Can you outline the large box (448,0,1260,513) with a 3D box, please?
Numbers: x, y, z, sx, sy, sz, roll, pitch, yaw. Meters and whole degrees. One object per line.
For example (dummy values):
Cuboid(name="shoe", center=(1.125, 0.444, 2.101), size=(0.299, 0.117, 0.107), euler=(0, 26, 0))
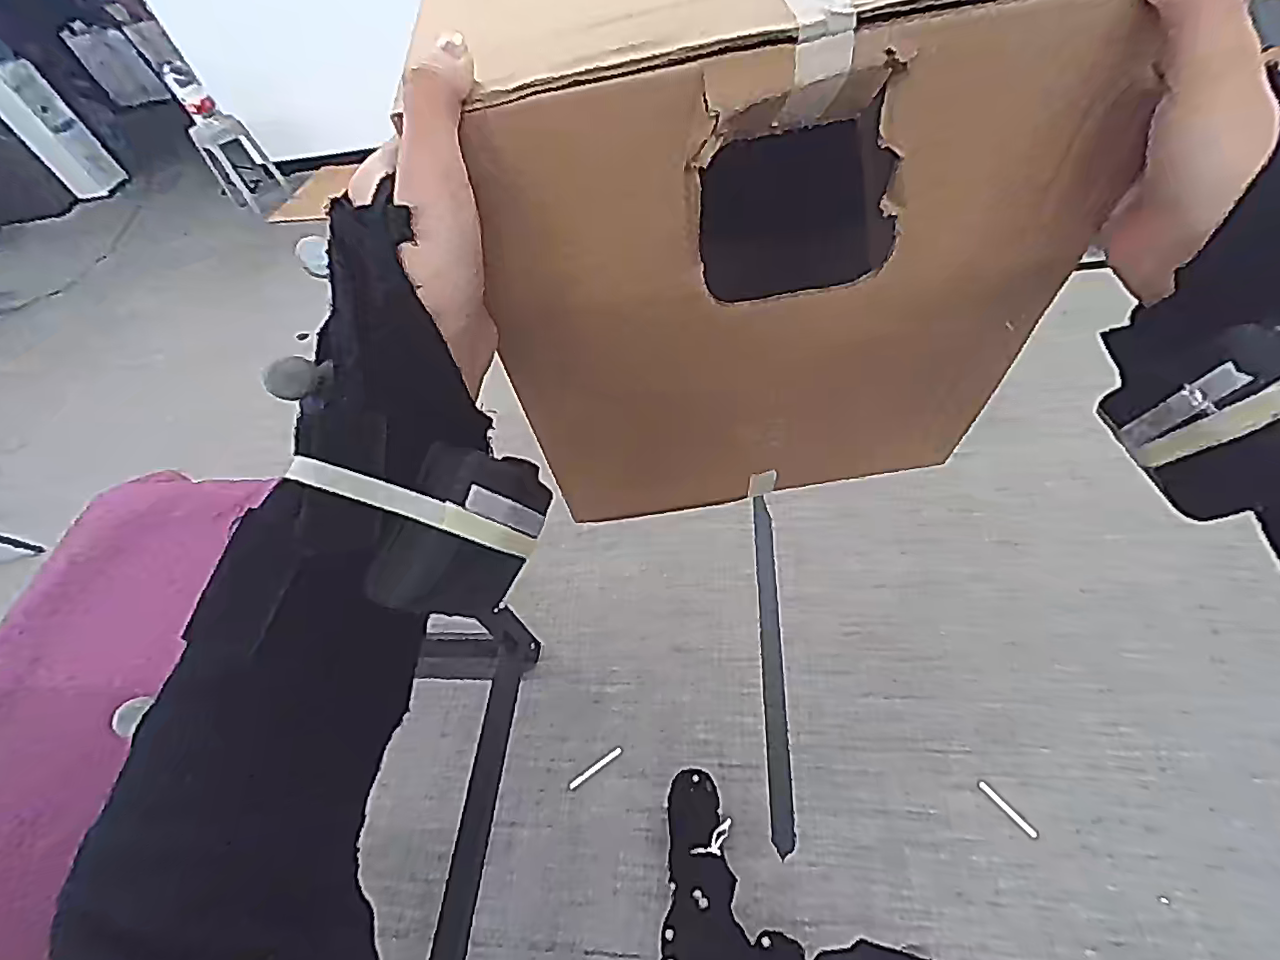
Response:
Cuboid(name="large box", center=(0.065, -0.238, 0.426), size=(0.320, 0.320, 0.408), euler=(-11, 57, 2))
